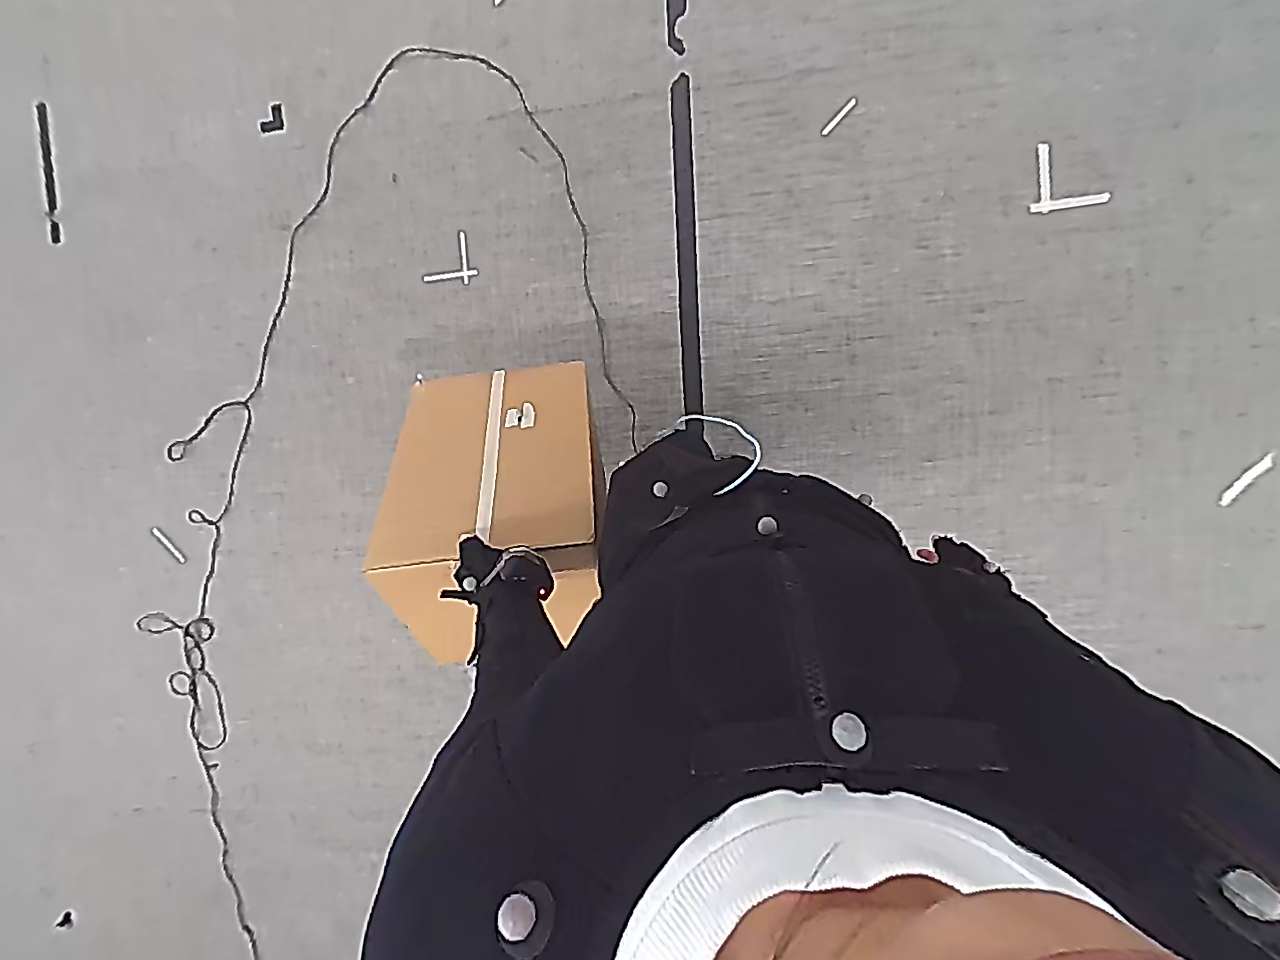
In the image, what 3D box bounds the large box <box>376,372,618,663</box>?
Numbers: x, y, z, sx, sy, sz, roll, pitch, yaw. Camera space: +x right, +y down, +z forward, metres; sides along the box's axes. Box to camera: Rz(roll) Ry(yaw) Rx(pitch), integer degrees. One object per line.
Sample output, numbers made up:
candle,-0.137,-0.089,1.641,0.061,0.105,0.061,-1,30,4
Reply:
large box,-0.223,0.063,0.981,0.320,0.408,0.320,-7,138,-1
